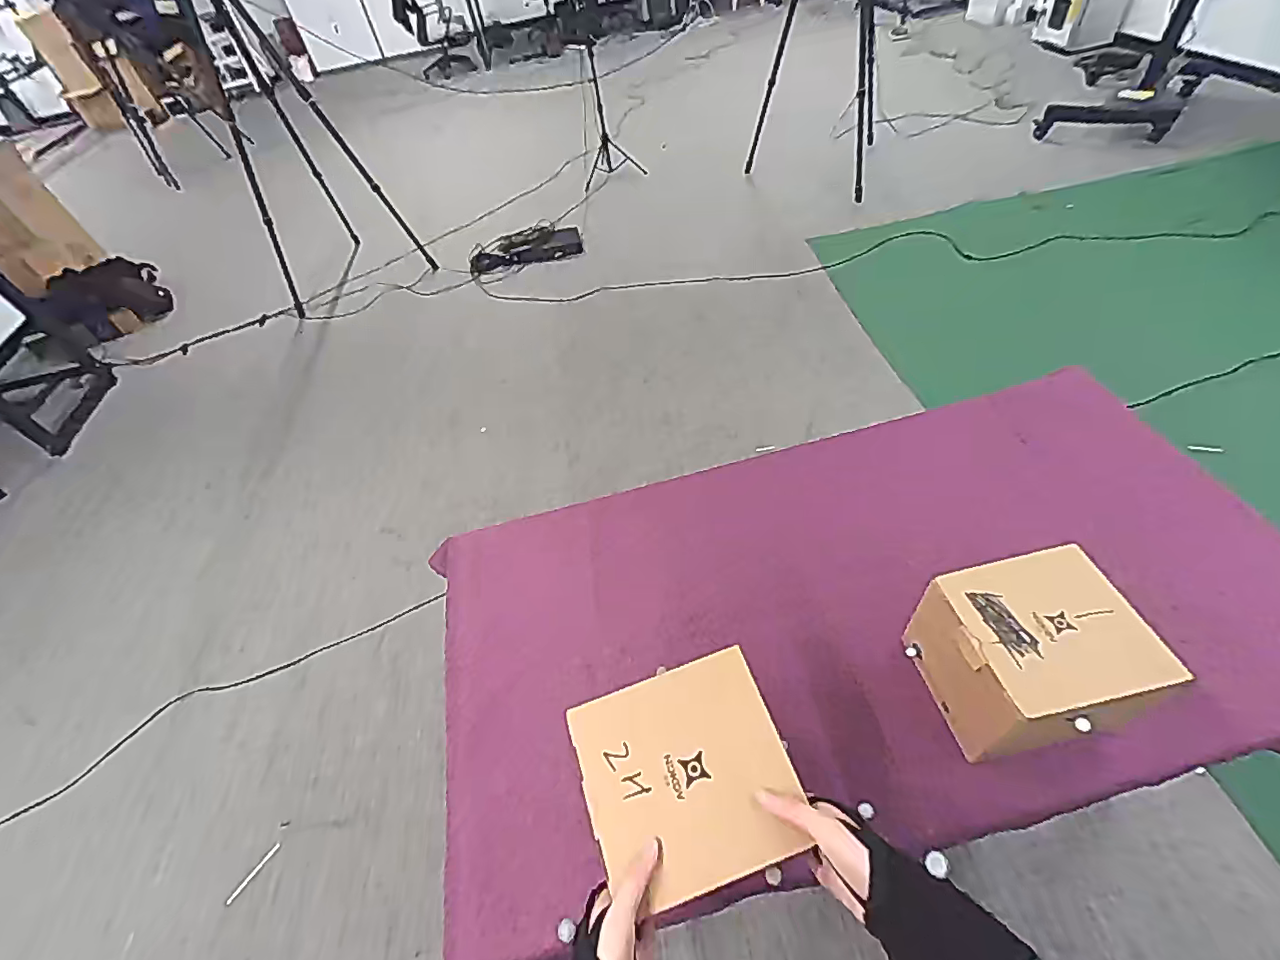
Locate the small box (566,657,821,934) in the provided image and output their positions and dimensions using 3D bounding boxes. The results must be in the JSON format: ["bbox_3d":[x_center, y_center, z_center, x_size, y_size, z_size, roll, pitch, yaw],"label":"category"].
[{"bbox_3d":[0.047,0.295,0.525,0.179,0.176,0.168,-20,57,-3],"label":"small box"}]

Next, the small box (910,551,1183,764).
[{"bbox_3d":[0.444,0.213,0.636,0.179,0.176,0.168,-13,49,-1],"label":"small box"}]
